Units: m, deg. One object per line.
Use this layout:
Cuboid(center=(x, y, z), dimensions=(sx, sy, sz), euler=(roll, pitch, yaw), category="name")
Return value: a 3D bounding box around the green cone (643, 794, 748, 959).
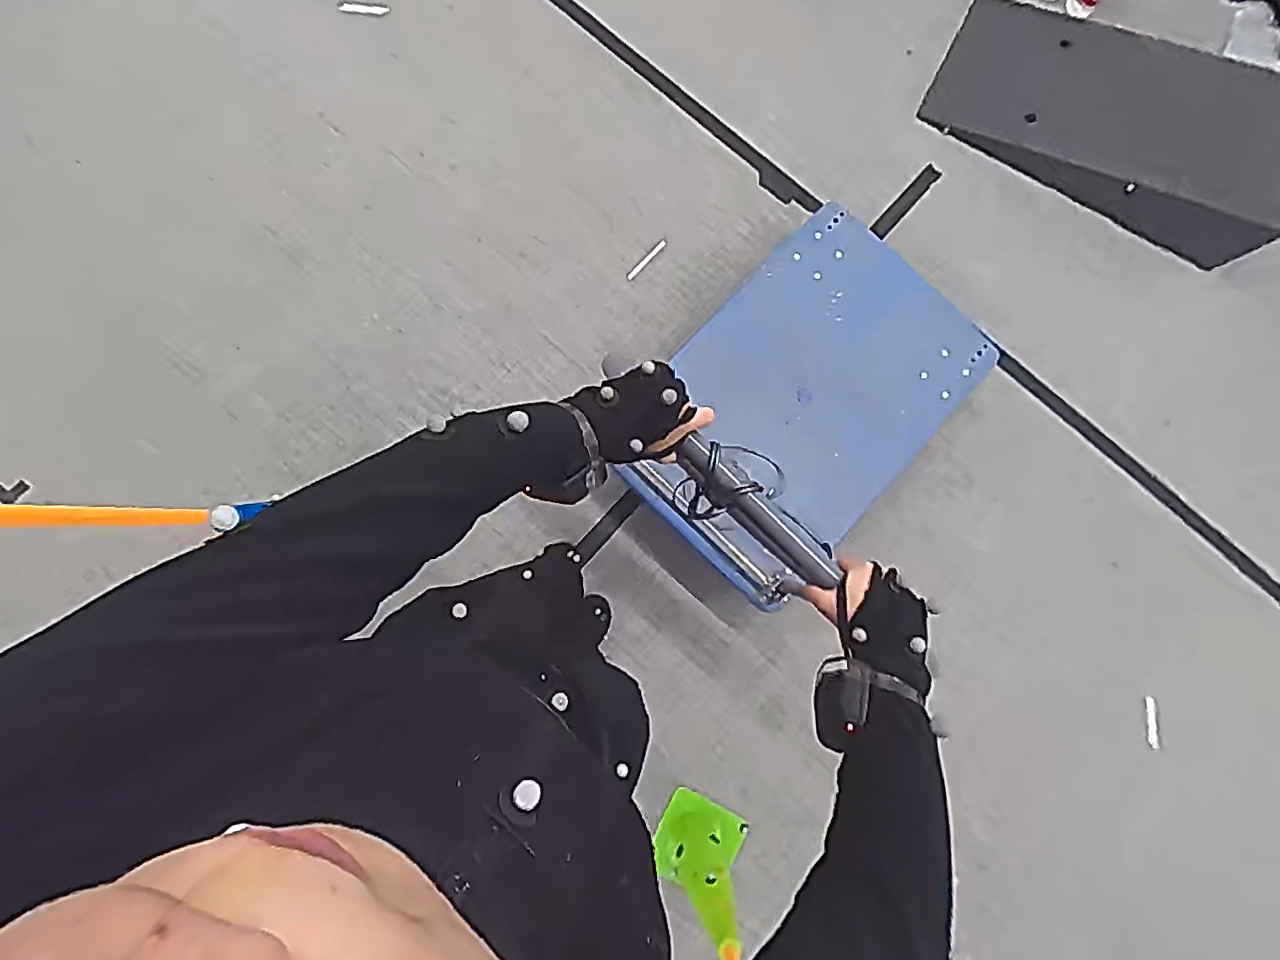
Cuboid(center=(0.140, 0.851, 1.104), dimensions=(0.200, 0.368, 0.202), euler=(28, 83, 0), category="green cone")
